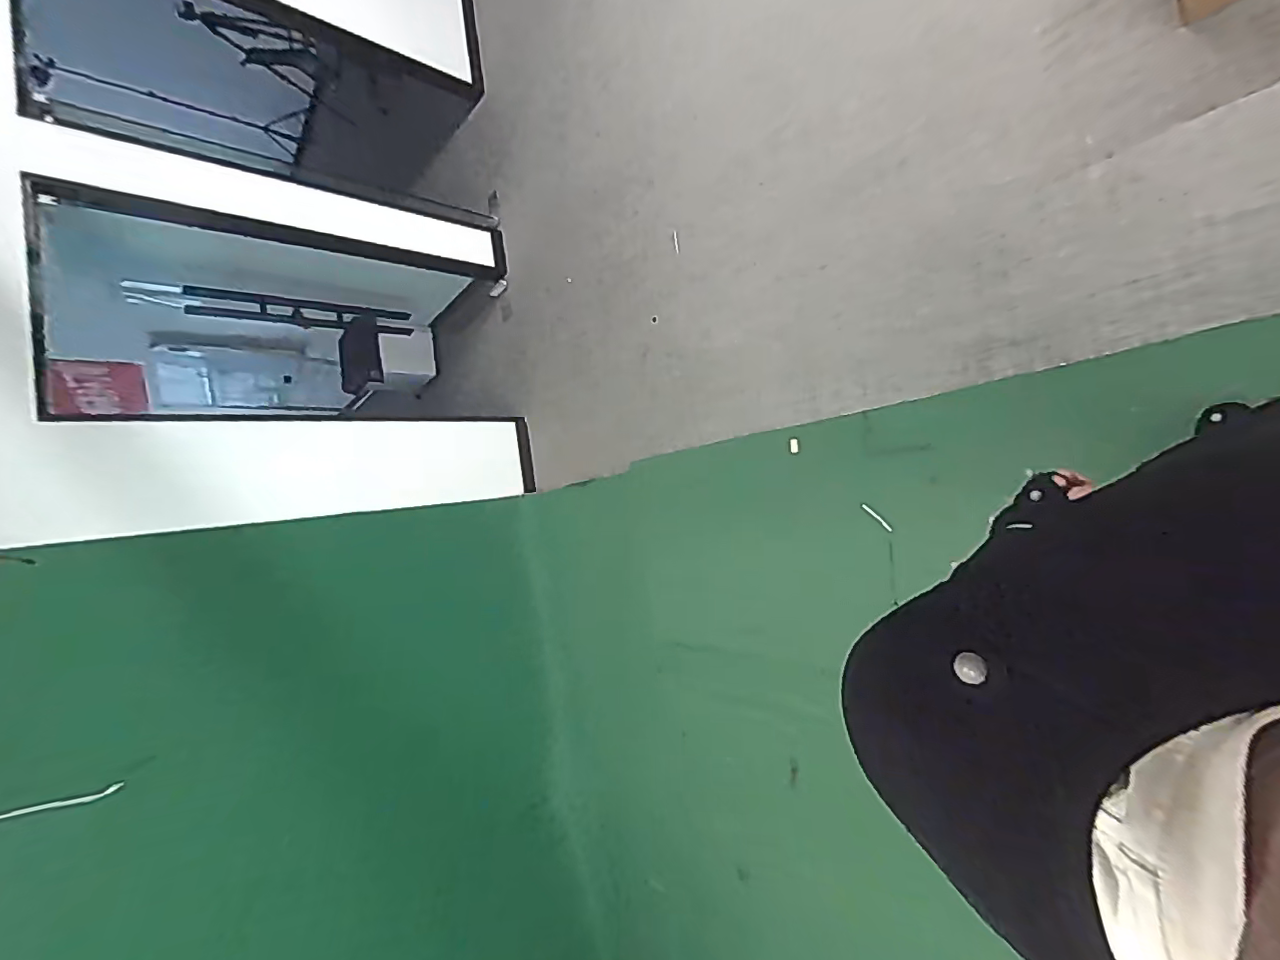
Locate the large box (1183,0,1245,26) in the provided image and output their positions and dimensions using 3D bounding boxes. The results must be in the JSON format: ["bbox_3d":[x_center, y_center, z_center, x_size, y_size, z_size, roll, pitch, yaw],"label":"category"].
[{"bbox_3d":[1.170,-1.131,0.918,0.408,0.320,0.320,-14,82,50],"label":"large box"}]
